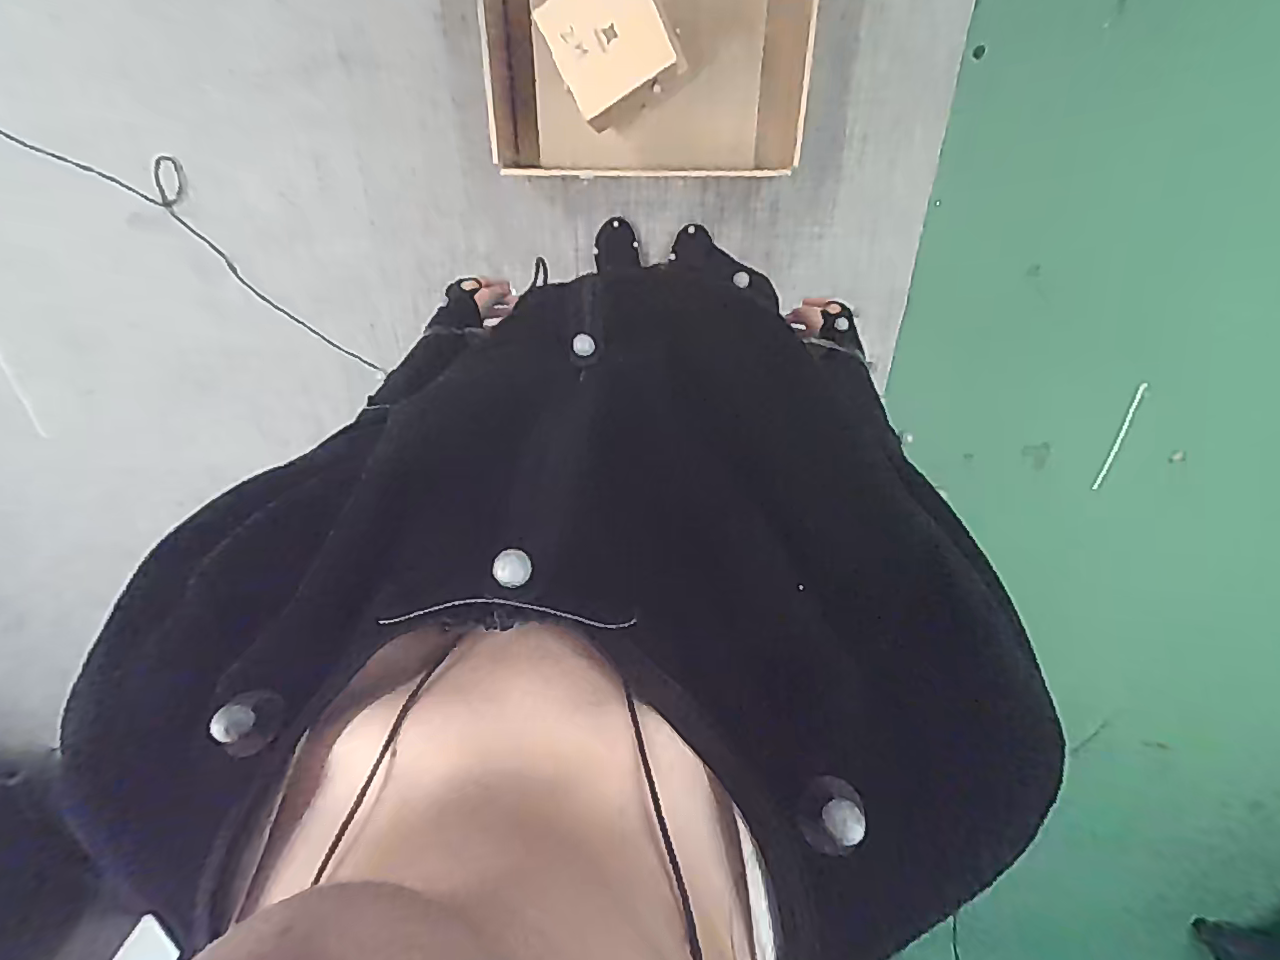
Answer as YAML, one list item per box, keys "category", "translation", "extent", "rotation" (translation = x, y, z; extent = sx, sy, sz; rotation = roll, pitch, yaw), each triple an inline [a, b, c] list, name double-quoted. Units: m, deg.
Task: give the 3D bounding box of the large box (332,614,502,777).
- category: "large box"
  translation: [-0.752, 0.739, 1.871]
  extent: [0.408, 0.320, 0.320]
  rotation: [29, 115, -9]

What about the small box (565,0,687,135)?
- category: "small box"
  translation: [-0.018, -0.806, 1.053]
  extent: [0.179, 0.176, 0.168]
  rotation: [-25, 113, 16]

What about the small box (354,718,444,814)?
- category: "small box"
  translation: [-0.735, 0.877, 1.667]
  extent: [0.168, 0.176, 0.179]
  rotation: [33, 115, -12]
